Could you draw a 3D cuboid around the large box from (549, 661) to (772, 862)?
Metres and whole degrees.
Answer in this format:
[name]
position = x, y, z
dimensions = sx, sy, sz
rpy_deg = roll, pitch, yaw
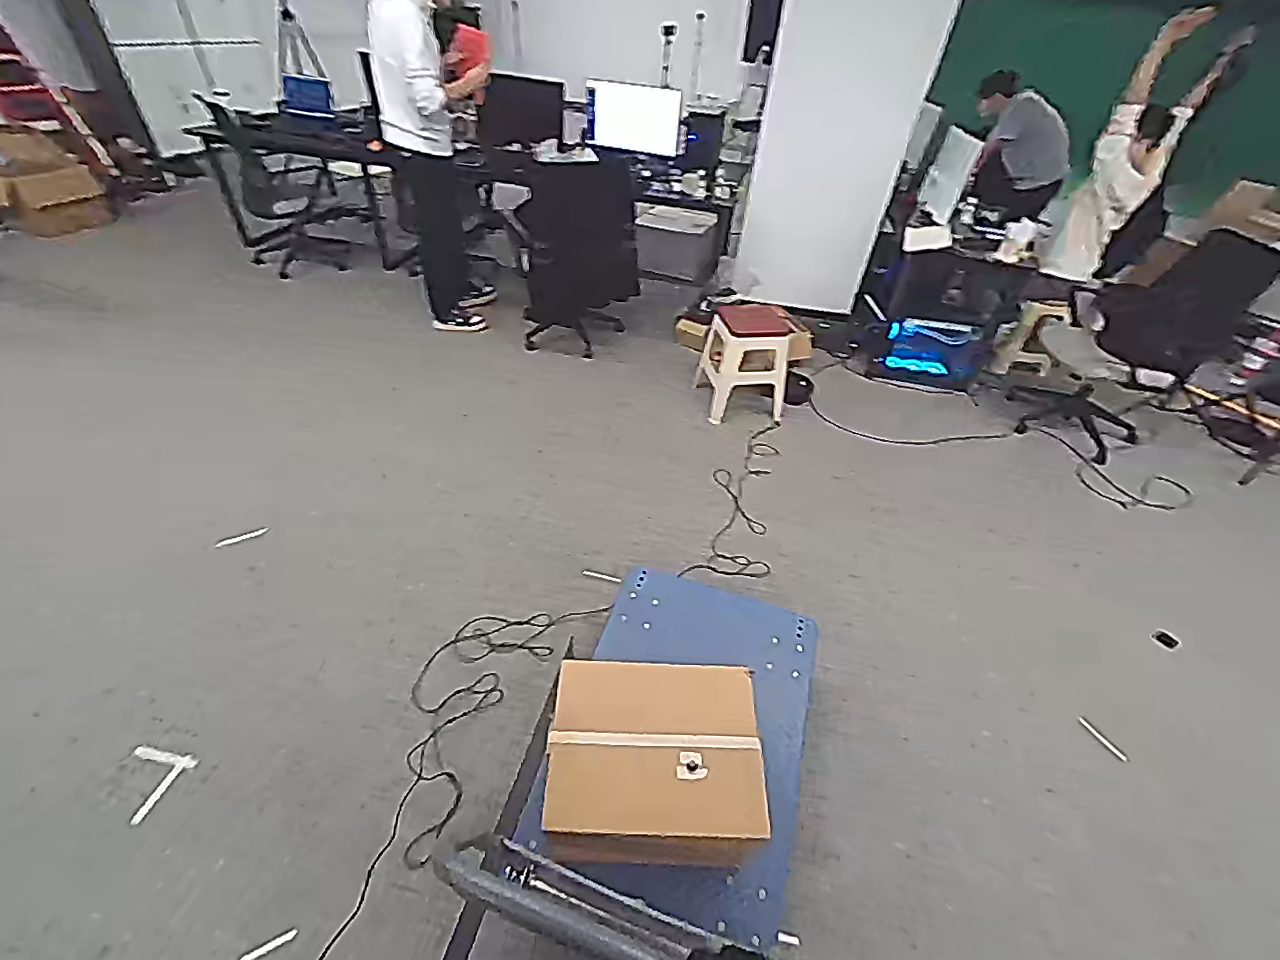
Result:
[large box]
position = 0.029, 0.605, 1.158
dimensions = 0.408, 0.320, 0.320
rpy_deg = 3, 47, -1
